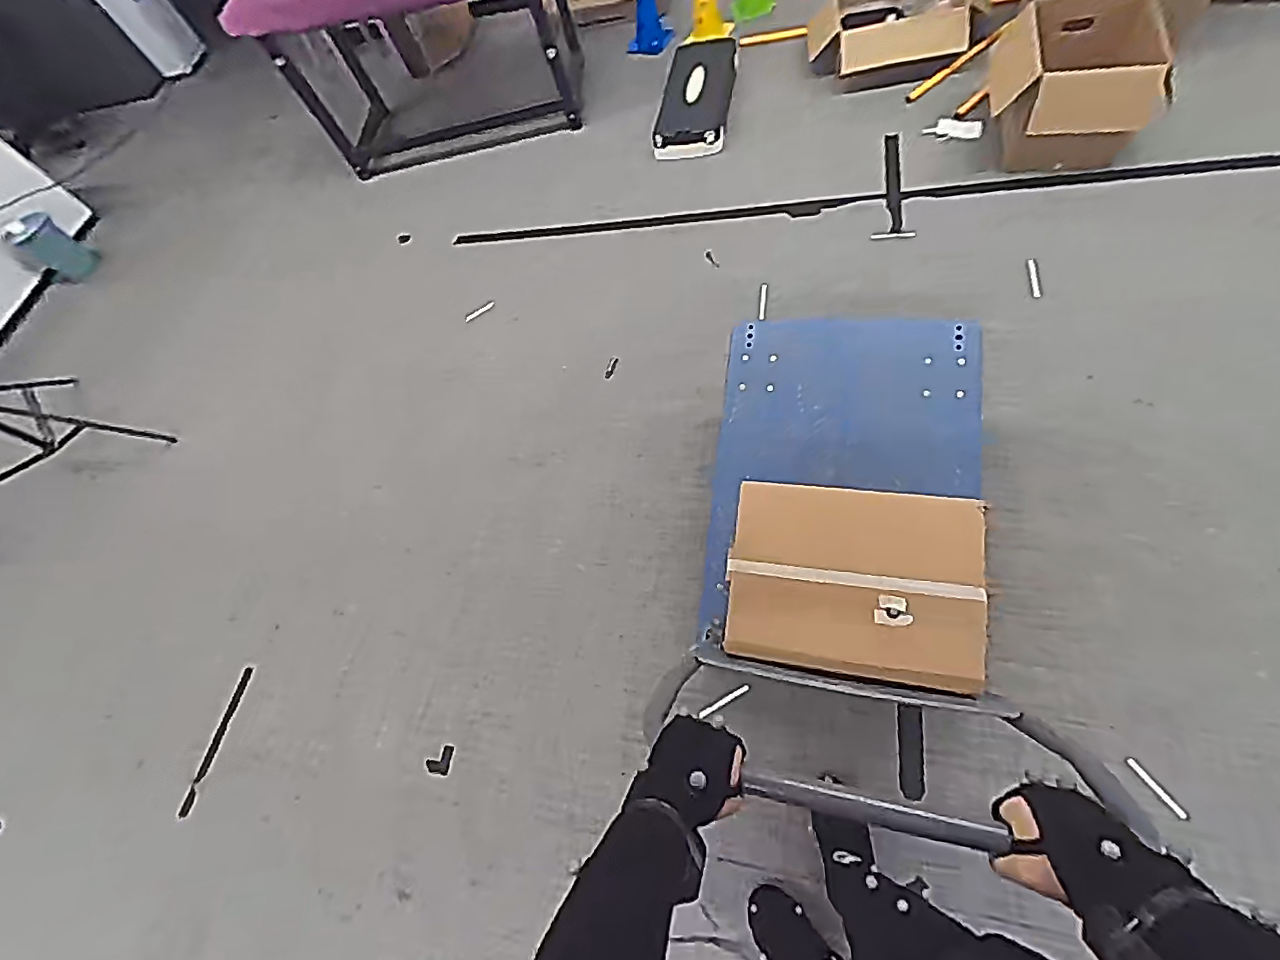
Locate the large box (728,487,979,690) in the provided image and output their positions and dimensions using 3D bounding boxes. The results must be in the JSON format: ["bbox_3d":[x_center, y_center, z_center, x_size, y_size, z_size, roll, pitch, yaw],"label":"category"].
[{"bbox_3d":[0.396,0.209,1.076,0.408,0.320,0.320,4,78,15],"label":"large box"}]
